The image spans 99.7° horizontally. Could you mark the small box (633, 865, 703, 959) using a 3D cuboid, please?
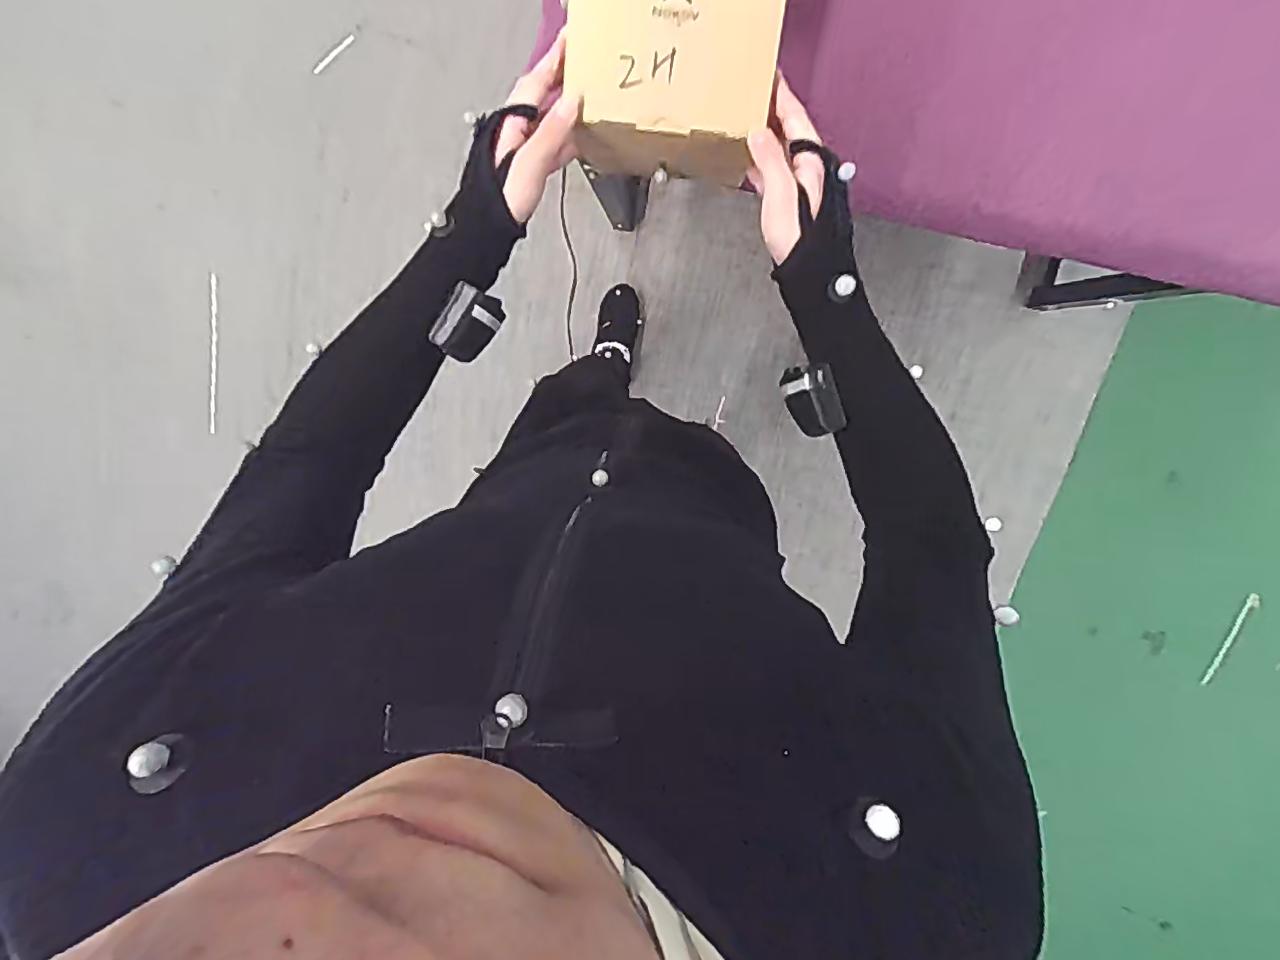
[{"bbox_3d":[0.084,1.299,1.605,0.168,0.176,0.179,14,105,-1],"label":"small box"}]

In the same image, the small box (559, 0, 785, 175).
[{"bbox_3d":[0.032,-0.393,0.474,0.168,0.176,0.179,7,107,2],"label":"small box"}]
